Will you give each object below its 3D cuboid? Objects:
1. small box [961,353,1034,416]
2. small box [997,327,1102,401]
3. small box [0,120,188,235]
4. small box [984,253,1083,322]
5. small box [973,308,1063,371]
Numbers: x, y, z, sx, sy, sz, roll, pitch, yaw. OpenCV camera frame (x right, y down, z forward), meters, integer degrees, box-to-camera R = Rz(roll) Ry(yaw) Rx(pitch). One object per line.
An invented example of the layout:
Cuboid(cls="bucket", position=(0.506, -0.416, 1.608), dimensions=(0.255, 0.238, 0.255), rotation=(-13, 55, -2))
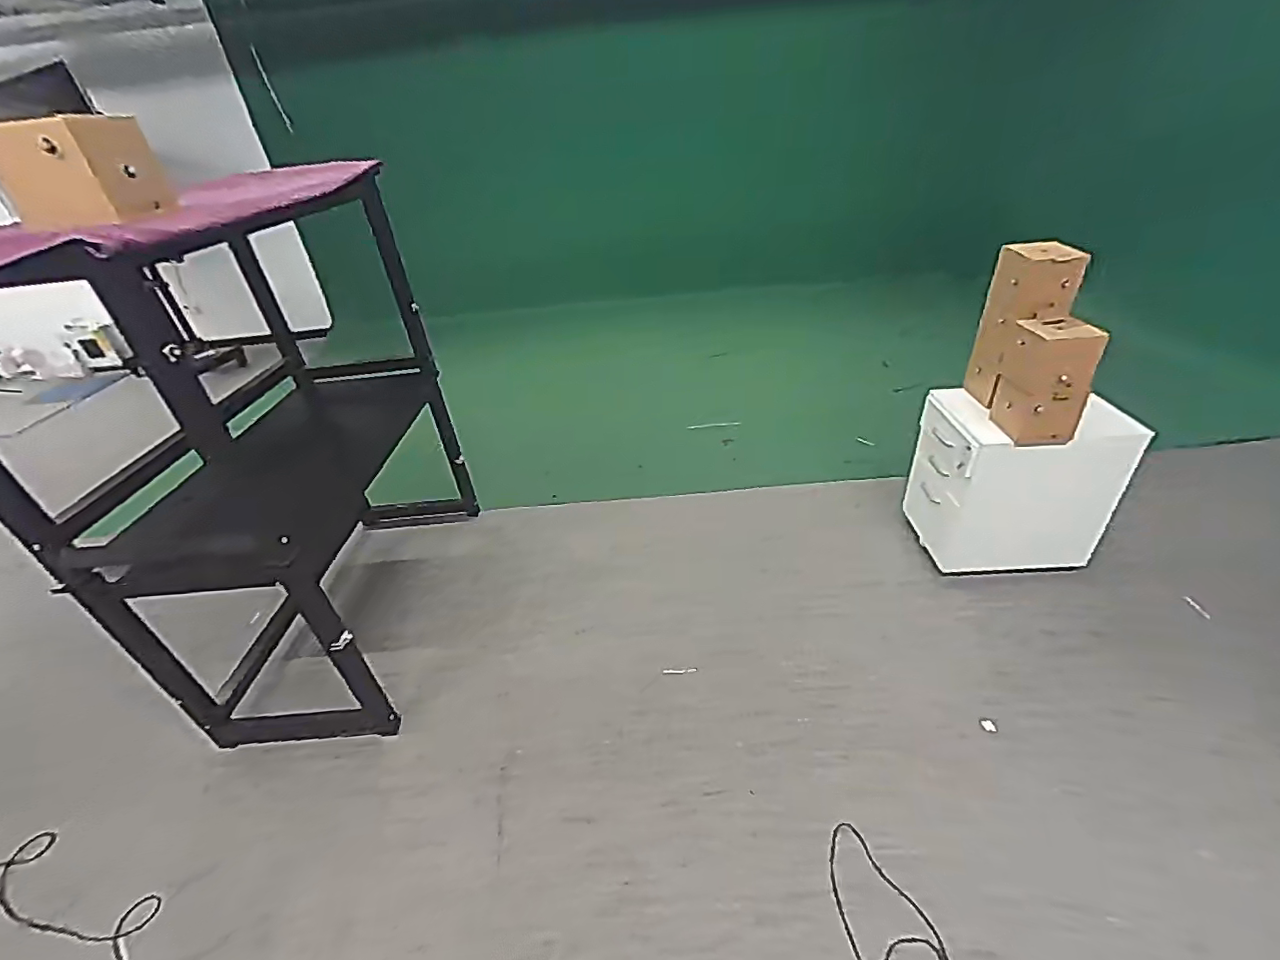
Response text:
Cuboid(cls="small box", position=(1.262, -0.338, 1.894), dimensions=(0.168, 0.176, 0.179), rotation=(-4, 35, 3))
Cuboid(cls="small box", position=(1.208, -0.347, 1.615), dimensions=(0.168, 0.176, 0.179), rotation=(-3, 33, 4))
Cuboid(cls="small box", position=(-1.012, -0.565, 1.009), dimensions=(0.179, 0.176, 0.168), rotation=(-5, 32, 1))
Cuboid(cls="small box", position=(1.233, -0.604, 1.707), dimensions=(0.168, 0.176, 0.179), rotation=(-2, 35, 2))
Cuboid(cls="small box", position=(1.246, -0.472, 1.801), dimensions=(0.168, 0.176, 0.179), rotation=(-3, 36, 4))
